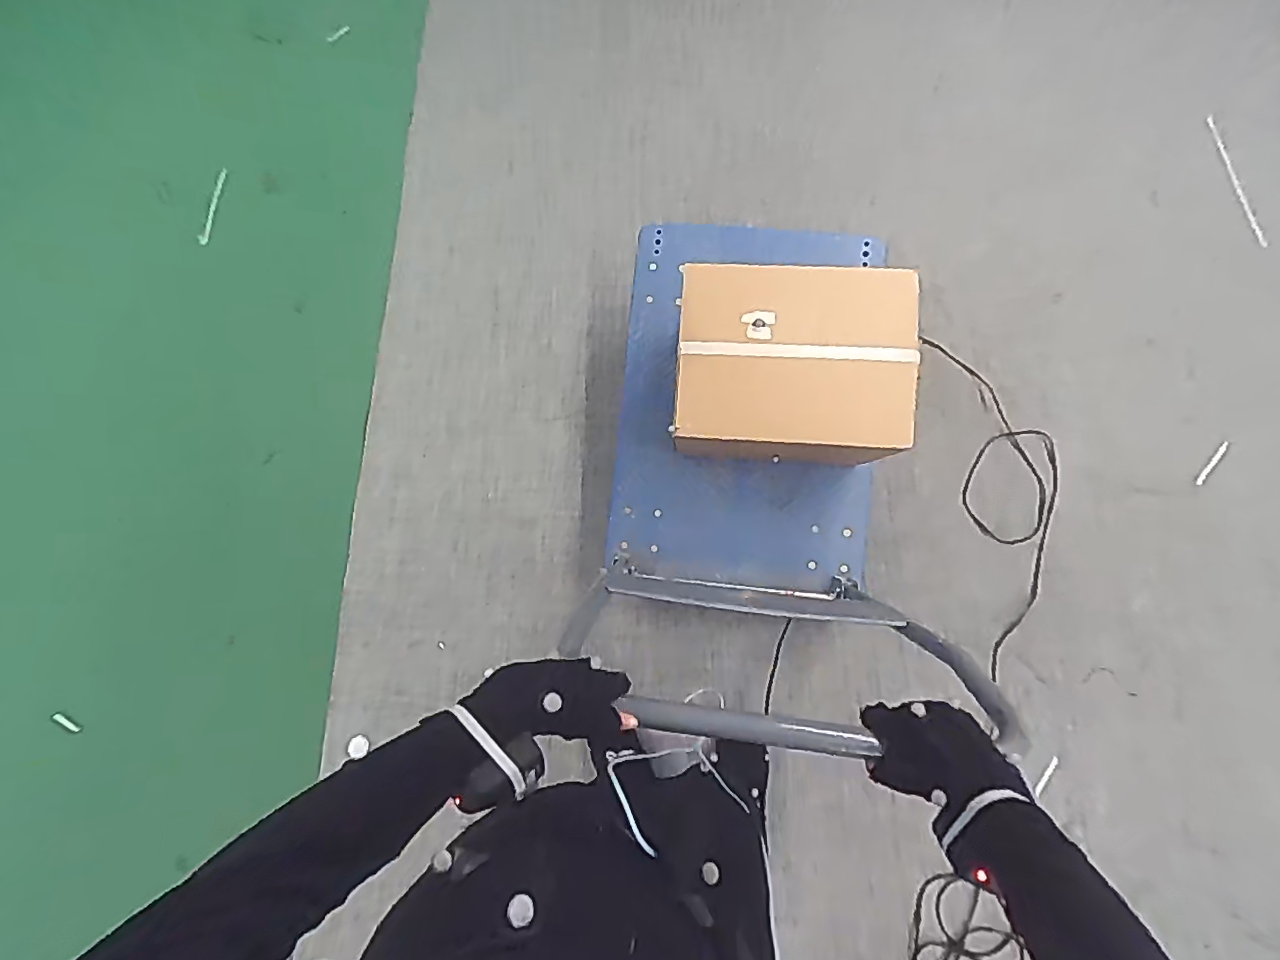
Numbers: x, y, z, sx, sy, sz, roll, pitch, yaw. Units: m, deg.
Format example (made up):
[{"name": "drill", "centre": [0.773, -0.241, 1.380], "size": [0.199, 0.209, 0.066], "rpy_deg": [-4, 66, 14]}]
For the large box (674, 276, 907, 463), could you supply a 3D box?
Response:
[{"name": "large box", "centre": [0.280, -0.201, 1.100], "size": [0.408, 0.320, 0.320], "rpy_deg": [3, 86, 6]}]
